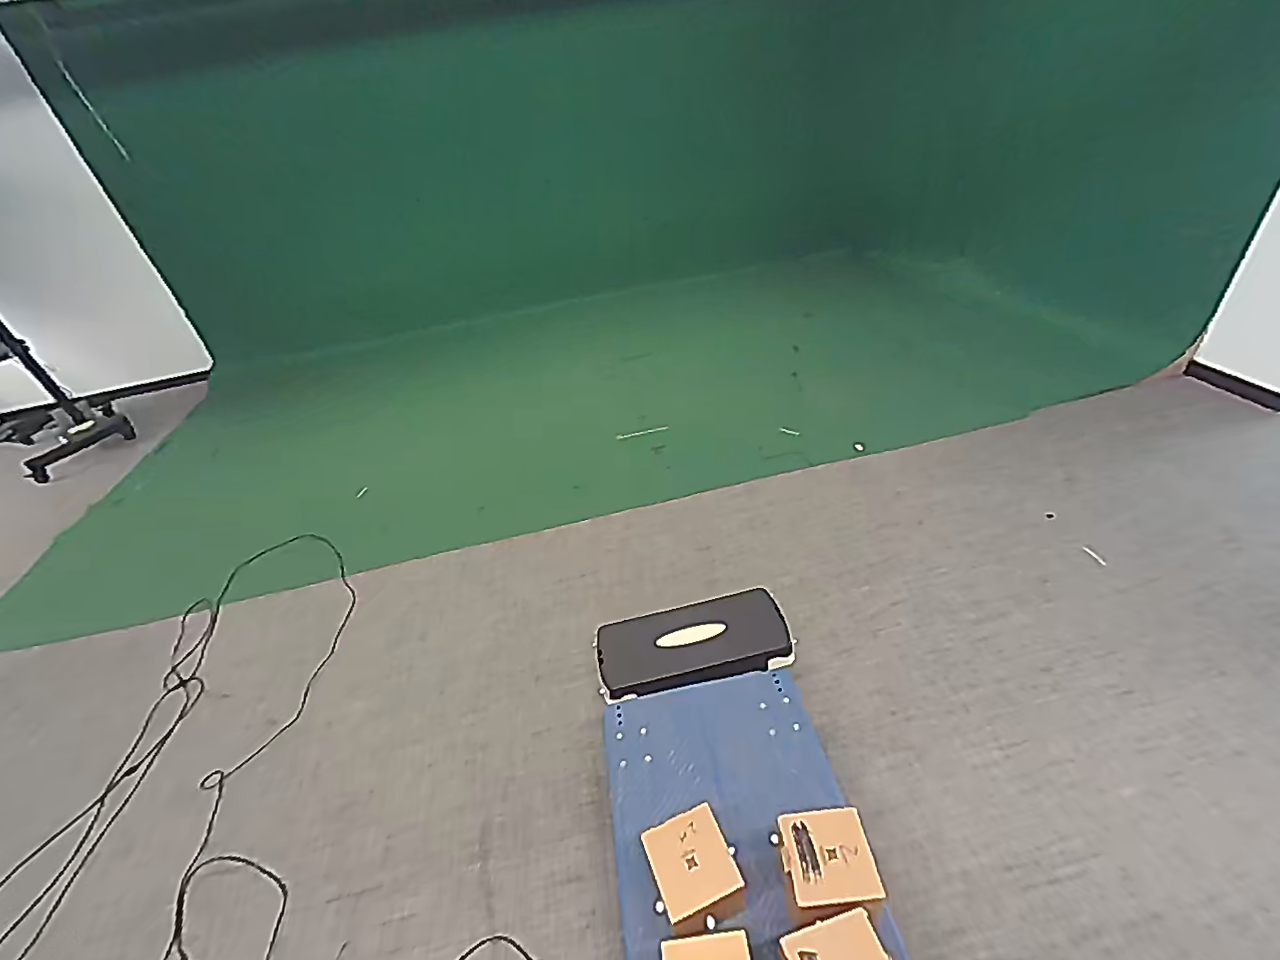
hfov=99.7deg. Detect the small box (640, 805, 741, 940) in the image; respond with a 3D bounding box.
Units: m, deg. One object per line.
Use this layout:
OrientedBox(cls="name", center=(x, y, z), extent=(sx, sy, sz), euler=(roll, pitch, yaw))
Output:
OrientedBox(cls="small box", center=(0.112, 0.864, 1.184), extent=(0.168, 0.176, 0.179), euler=(-17, 38, -13))
